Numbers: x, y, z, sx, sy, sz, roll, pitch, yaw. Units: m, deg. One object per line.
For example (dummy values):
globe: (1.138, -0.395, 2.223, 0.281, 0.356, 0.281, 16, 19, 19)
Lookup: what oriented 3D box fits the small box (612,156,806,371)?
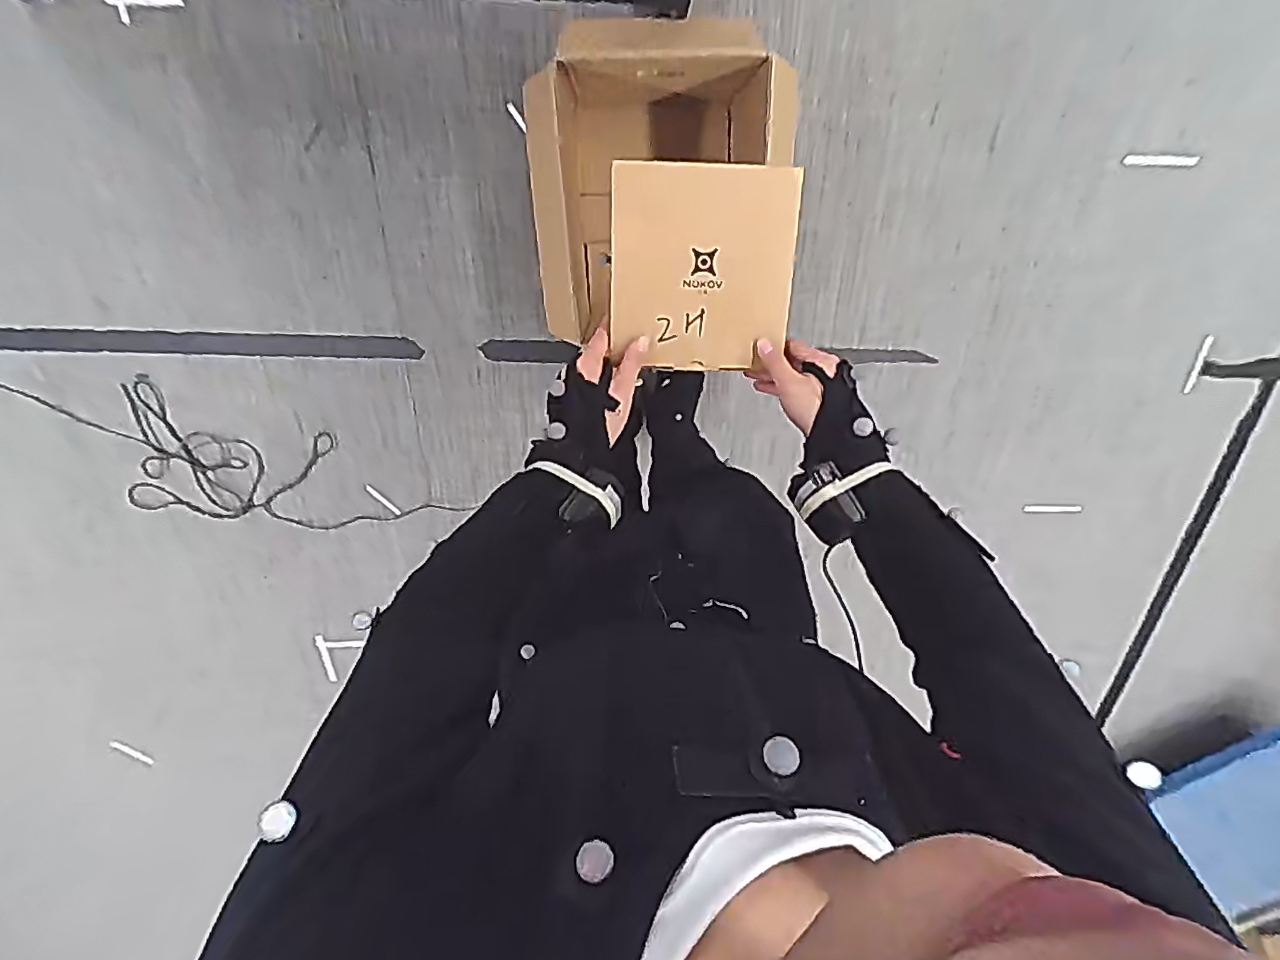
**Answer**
small box: (0.056, -0.212, 0.556, 0.168, 0.176, 0.179, 1, 109, -1)
